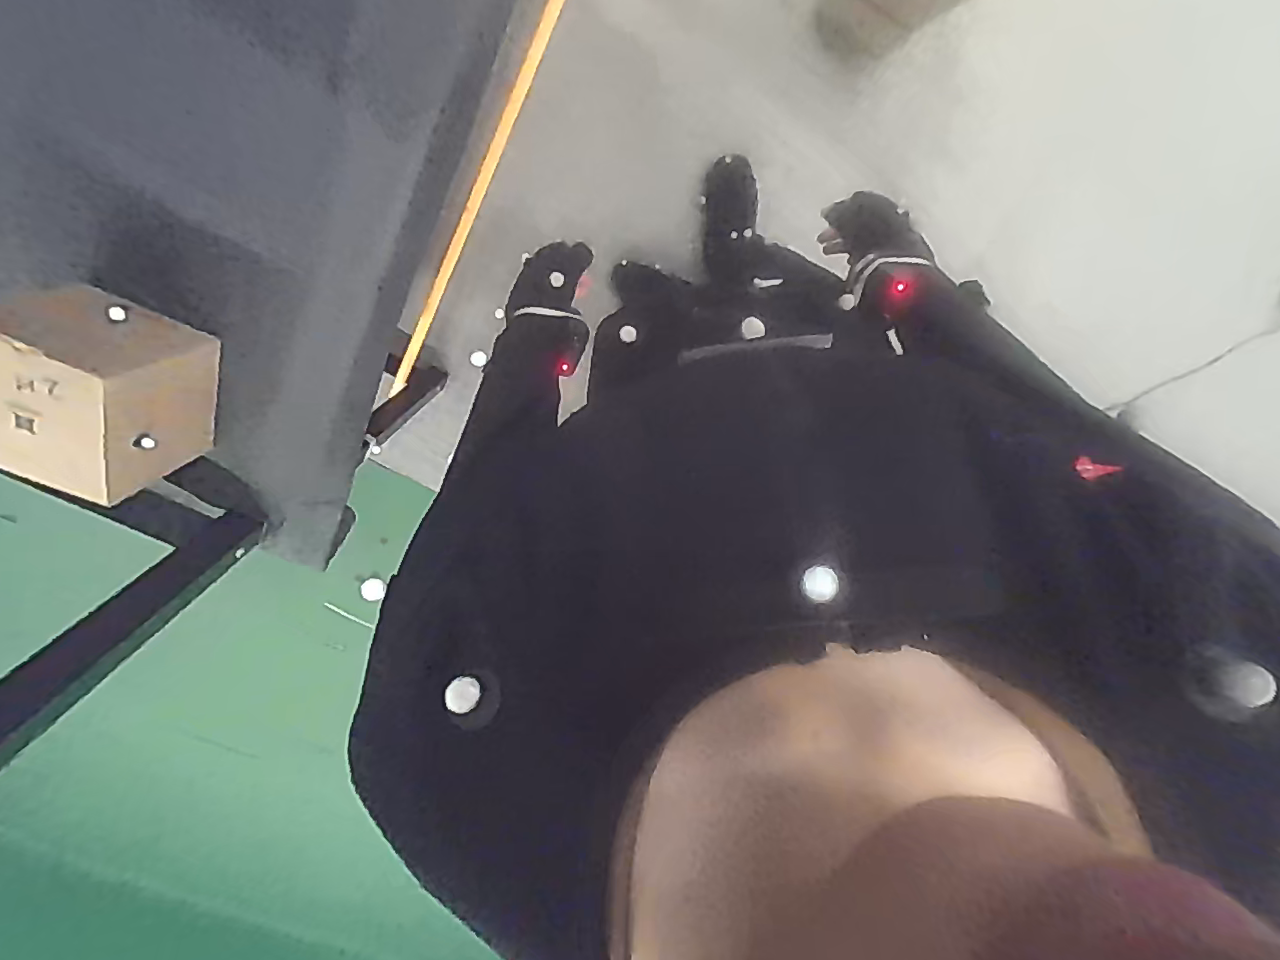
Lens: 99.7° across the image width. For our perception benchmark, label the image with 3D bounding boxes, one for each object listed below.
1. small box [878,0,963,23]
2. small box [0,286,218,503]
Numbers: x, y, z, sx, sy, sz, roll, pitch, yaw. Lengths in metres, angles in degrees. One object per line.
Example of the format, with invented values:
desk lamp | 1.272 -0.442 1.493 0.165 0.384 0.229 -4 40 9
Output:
small box | 0.447 -0.847 0.826 0.179 0.176 0.168 27 117 -10
small box | -0.655 -0.109 0.653 0.168 0.176 0.179 23 117 -10
